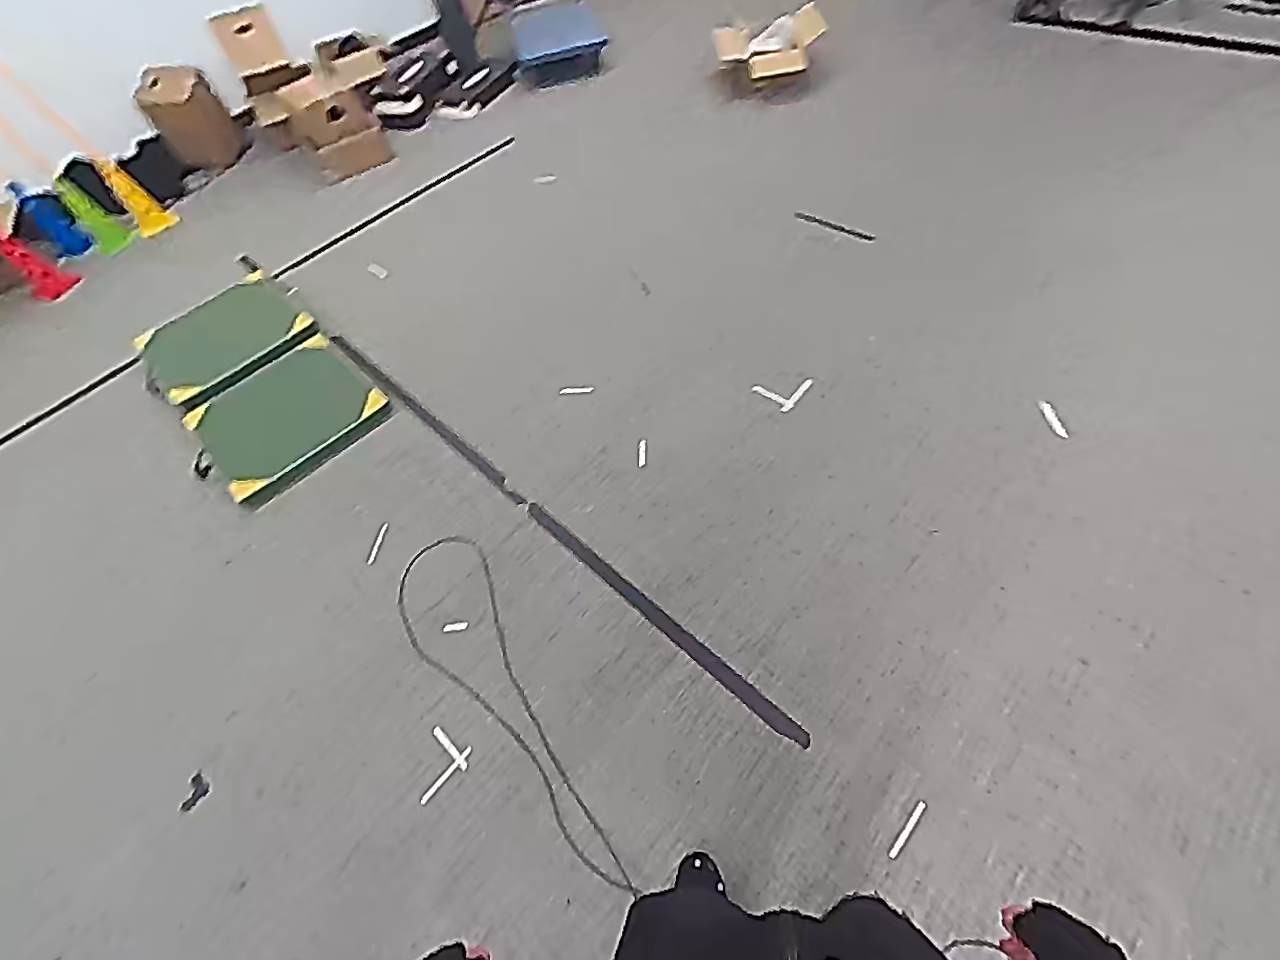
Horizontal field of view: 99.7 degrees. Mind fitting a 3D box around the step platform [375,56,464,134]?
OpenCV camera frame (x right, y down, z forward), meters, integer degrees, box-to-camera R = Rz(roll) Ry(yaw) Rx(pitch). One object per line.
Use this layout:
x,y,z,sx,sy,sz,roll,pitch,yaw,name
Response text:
-1.436,-2.537,3.543,0.286,0.204,0.684,9,59,13,step platform
